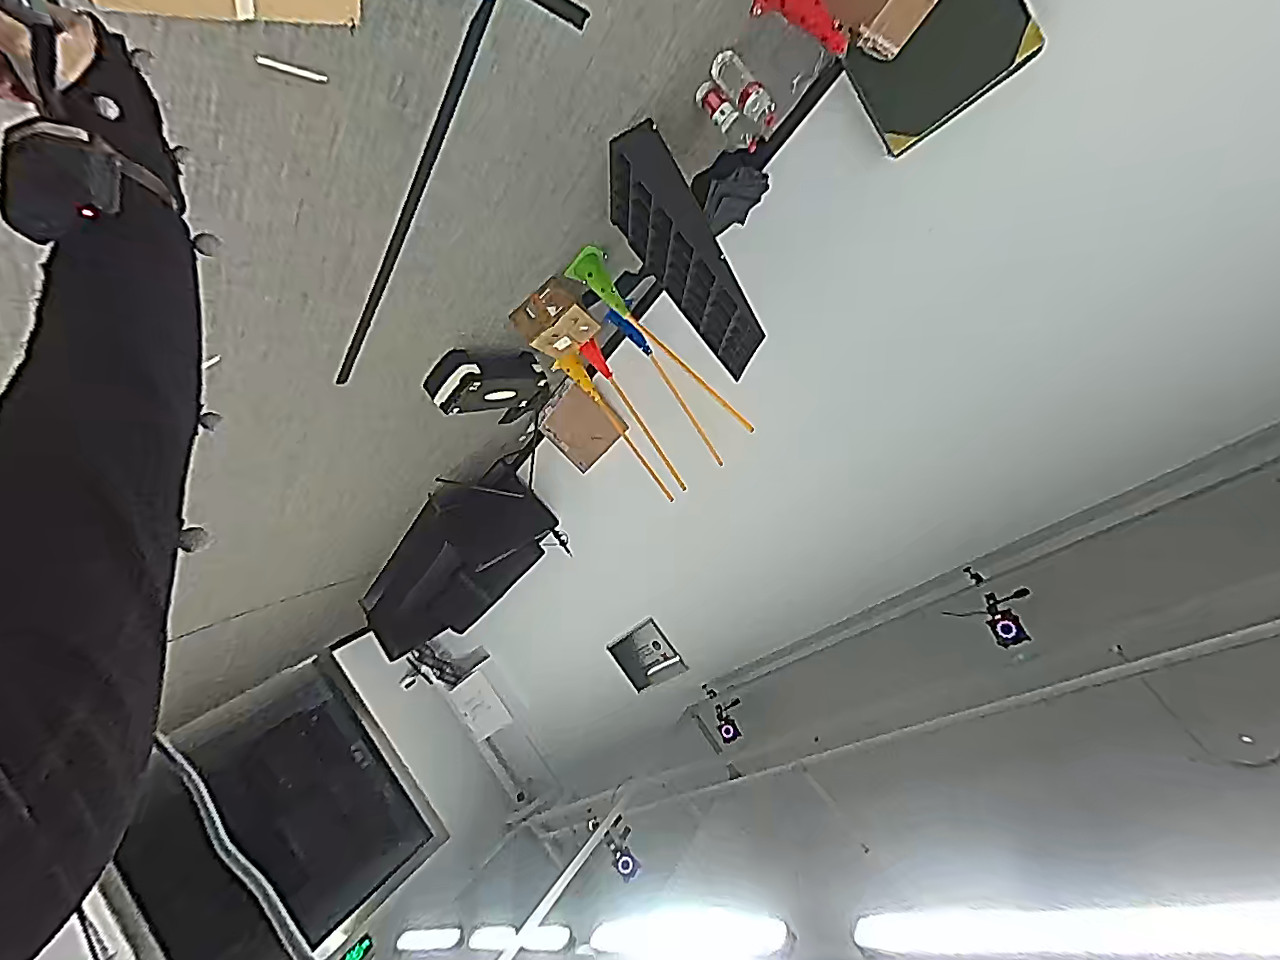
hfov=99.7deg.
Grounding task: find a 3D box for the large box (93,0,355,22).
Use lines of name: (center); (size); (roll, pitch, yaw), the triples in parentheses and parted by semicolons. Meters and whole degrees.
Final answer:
large box: (-0.531, -0.811, 0.565); (0.320, 0.320, 0.408); (-32, 173, -36)
